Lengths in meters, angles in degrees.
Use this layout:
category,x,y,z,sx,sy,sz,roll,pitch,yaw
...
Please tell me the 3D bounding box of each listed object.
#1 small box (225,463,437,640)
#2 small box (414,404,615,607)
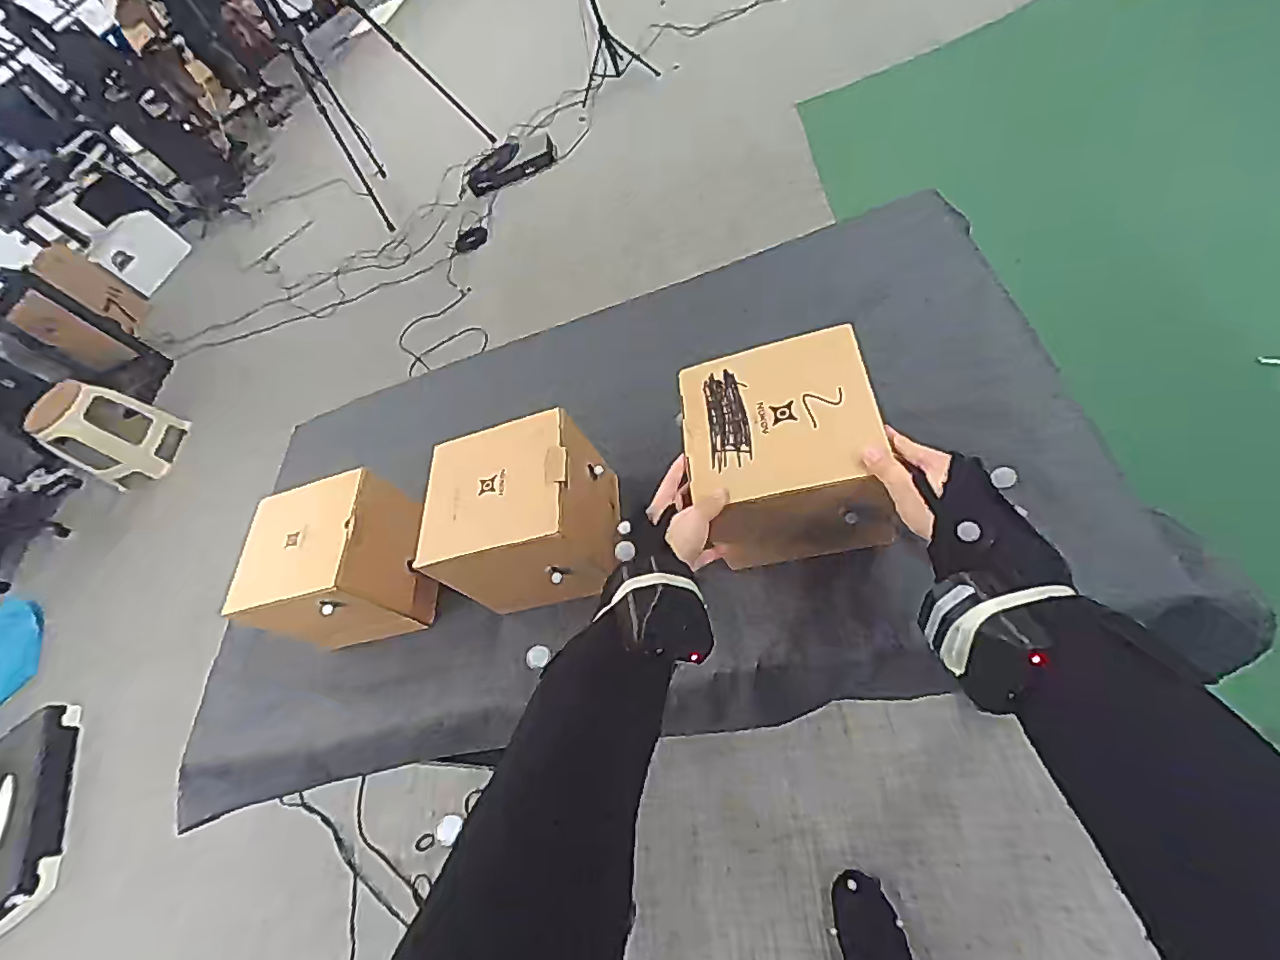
category,x,y,z,sx,sy,sz,roll,pitch,yaw
small box,-0.398,0.106,0.736,0.179,0.176,0.168,-15,56,14
small box,-0.136,0.040,0.659,0.179,0.176,0.168,-16,55,16
